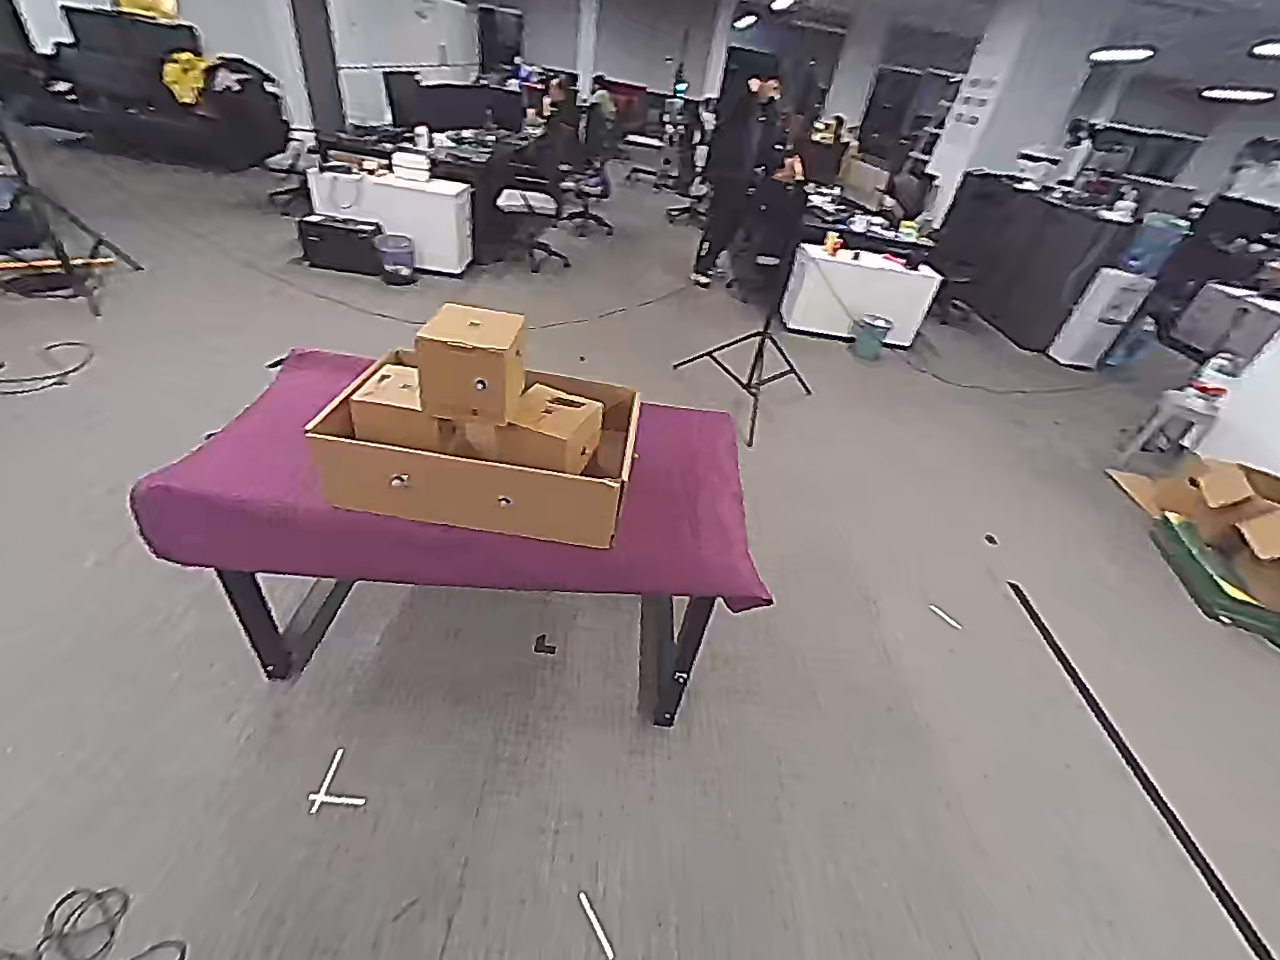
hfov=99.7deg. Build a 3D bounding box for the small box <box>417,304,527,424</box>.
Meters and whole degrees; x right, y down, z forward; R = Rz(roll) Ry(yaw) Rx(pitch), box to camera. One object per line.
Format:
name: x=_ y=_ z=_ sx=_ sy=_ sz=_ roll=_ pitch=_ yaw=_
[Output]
small box: x=-0.325 y=-0.230 z=1.078 sx=0.168 sy=0.176 sz=0.179 roll=9 pitch=36 yaw=-4
